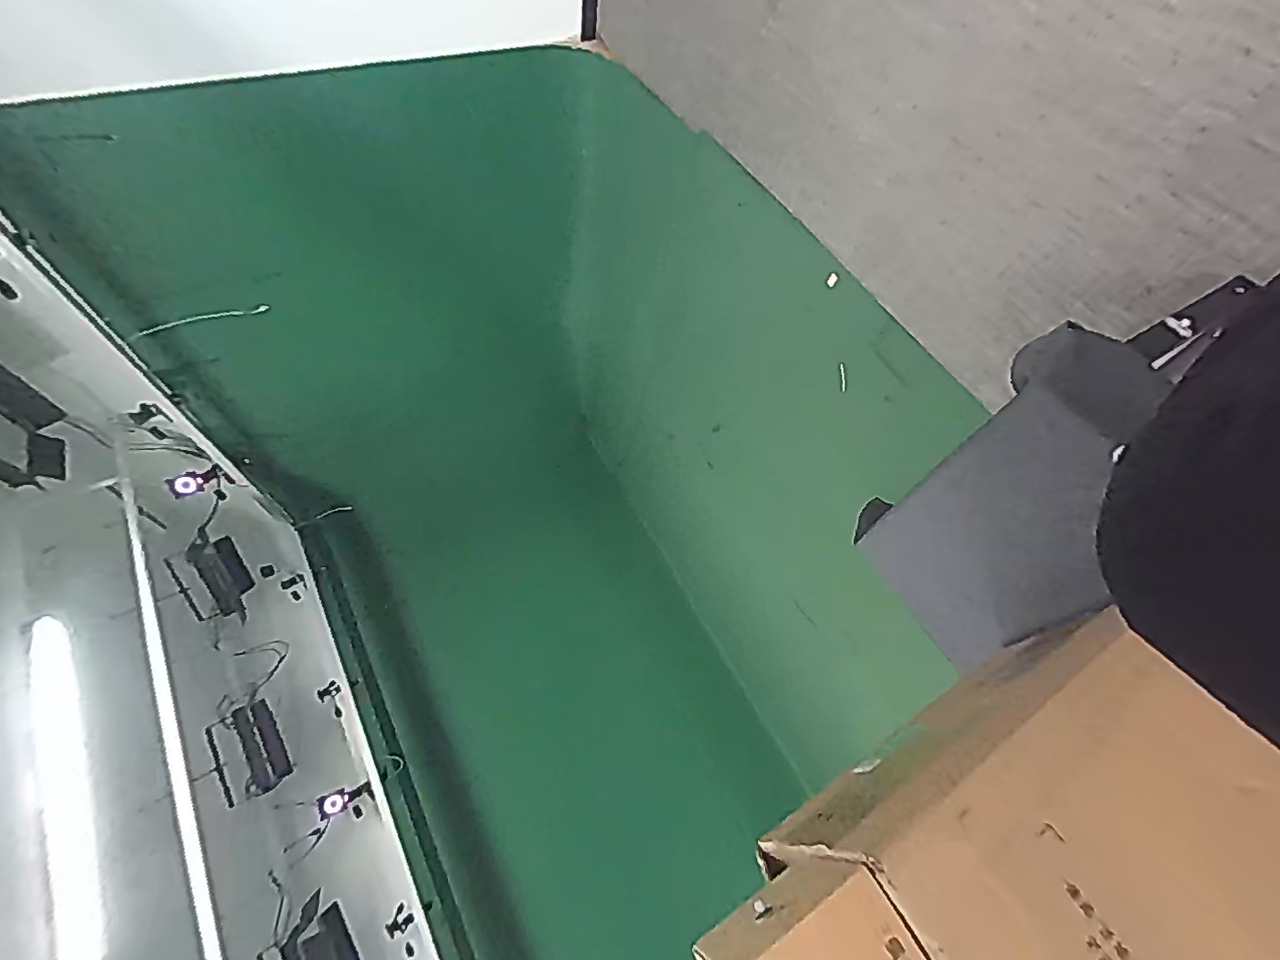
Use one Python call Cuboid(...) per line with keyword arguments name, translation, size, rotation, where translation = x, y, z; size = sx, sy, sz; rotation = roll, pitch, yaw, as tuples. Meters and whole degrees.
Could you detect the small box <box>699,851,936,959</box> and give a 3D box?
Cuboid(name="small box", translation=(0.185, 0.502, 0.535), size=(0.168, 0.176, 0.179), rotation=(56, 156, 25))
